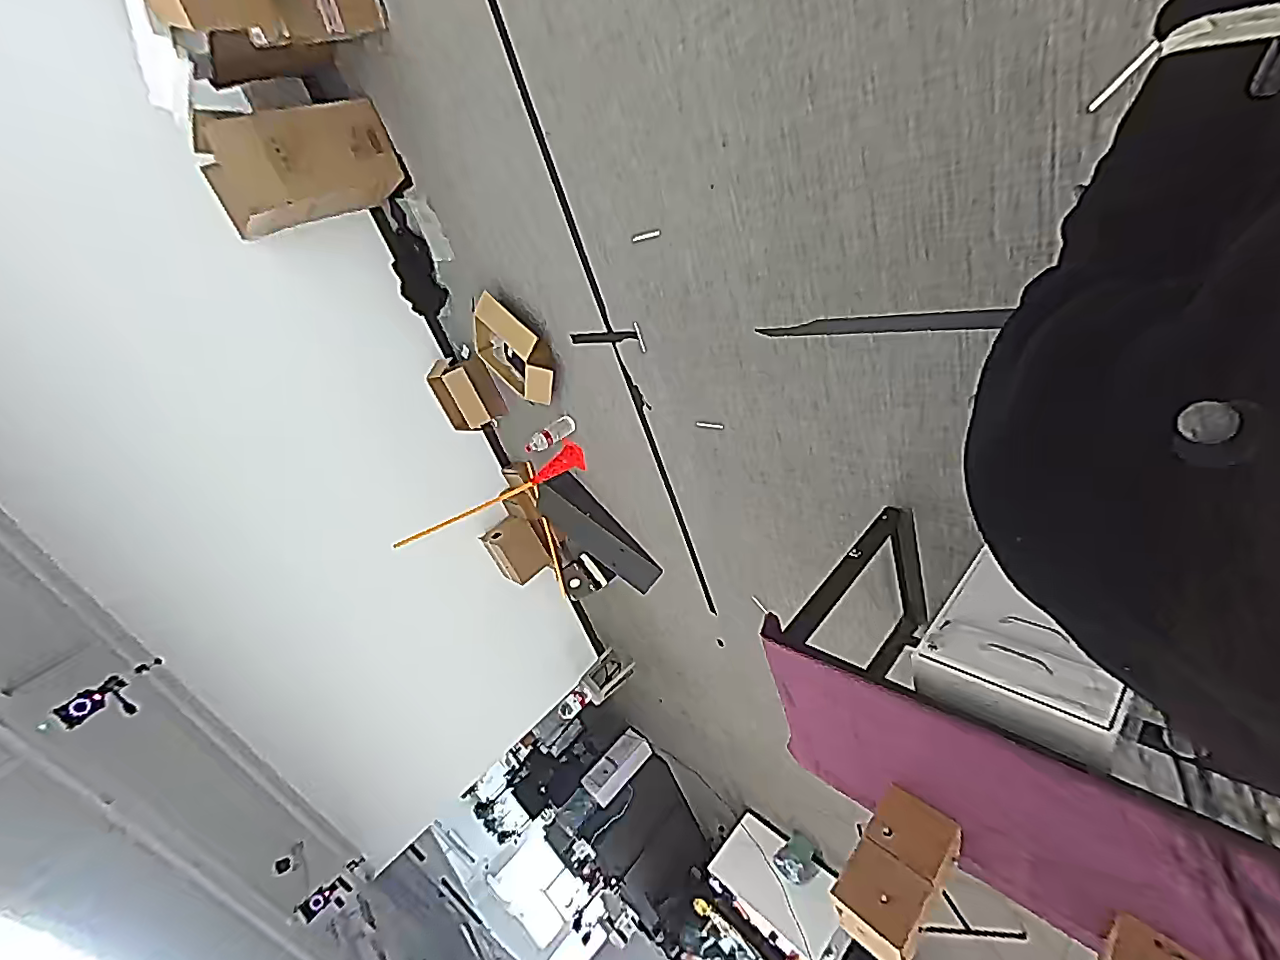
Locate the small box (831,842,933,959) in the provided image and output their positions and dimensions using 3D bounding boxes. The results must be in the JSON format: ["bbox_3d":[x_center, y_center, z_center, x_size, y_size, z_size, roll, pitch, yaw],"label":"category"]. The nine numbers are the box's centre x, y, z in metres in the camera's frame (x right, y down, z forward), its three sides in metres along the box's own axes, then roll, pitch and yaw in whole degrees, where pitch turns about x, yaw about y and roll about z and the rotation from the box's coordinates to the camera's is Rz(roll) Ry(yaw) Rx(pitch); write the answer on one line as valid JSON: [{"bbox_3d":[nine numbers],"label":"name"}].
[{"bbox_3d":[0.589,1.037,1.312,0.179,0.176,0.168,18,134,44],"label":"small box"}]

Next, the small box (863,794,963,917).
[{"bbox_3d":[0.702,0.951,1.393,0.179,0.176,0.168,17,134,46],"label":"small box"}]

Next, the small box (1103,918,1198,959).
[{"bbox_3d":[0.997,1.008,1.038,0.168,0.176,0.179,18,134,44],"label":"small box"}]
